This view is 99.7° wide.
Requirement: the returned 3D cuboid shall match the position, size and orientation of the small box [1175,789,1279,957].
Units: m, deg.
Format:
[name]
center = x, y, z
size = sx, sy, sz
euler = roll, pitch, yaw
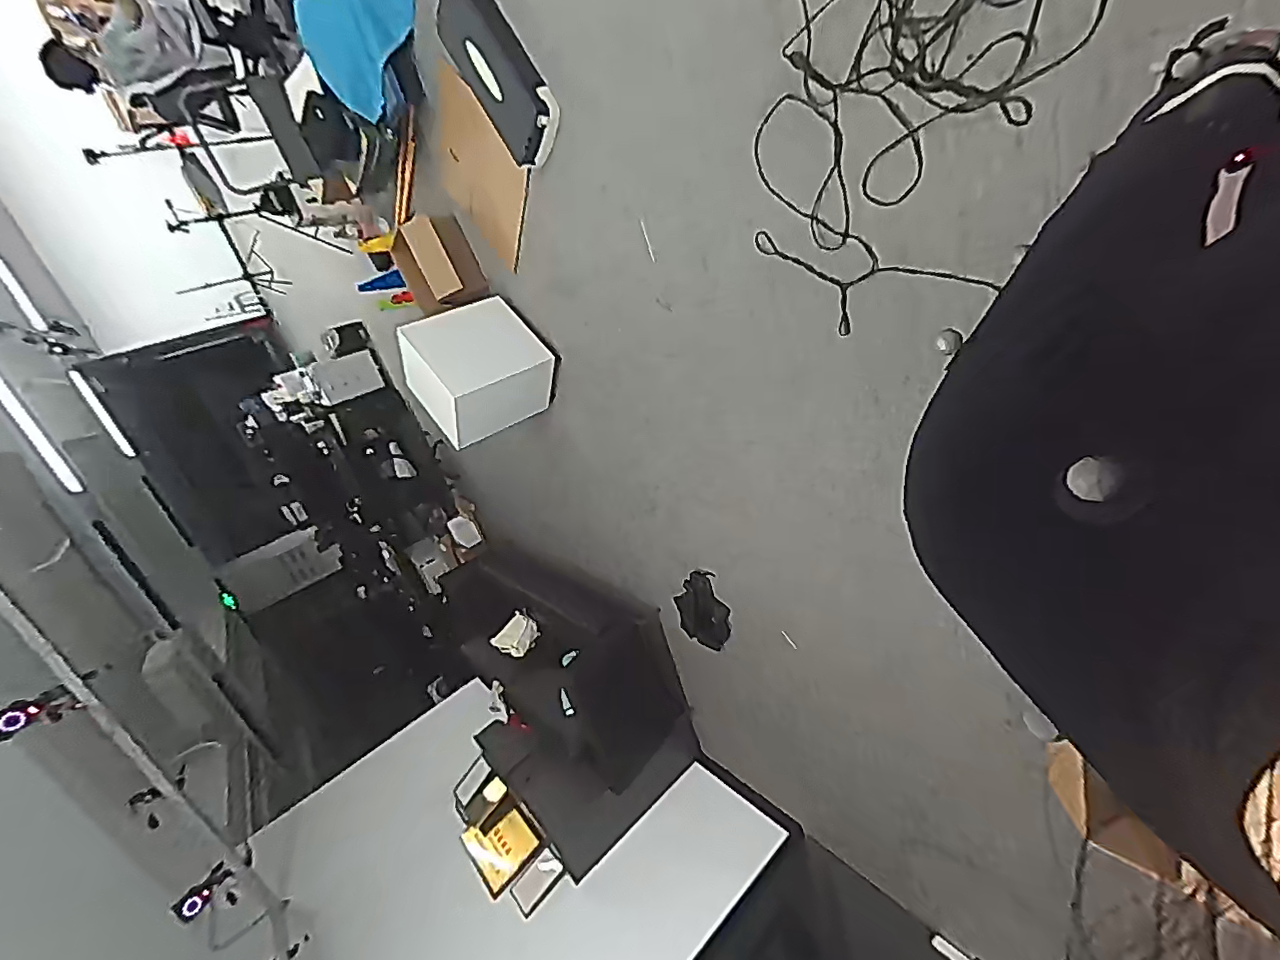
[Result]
[small box]
center = 1.183, 0.761, 1.056
size = 0.168, 0.176, 0.179
euler = 8, 121, 54
